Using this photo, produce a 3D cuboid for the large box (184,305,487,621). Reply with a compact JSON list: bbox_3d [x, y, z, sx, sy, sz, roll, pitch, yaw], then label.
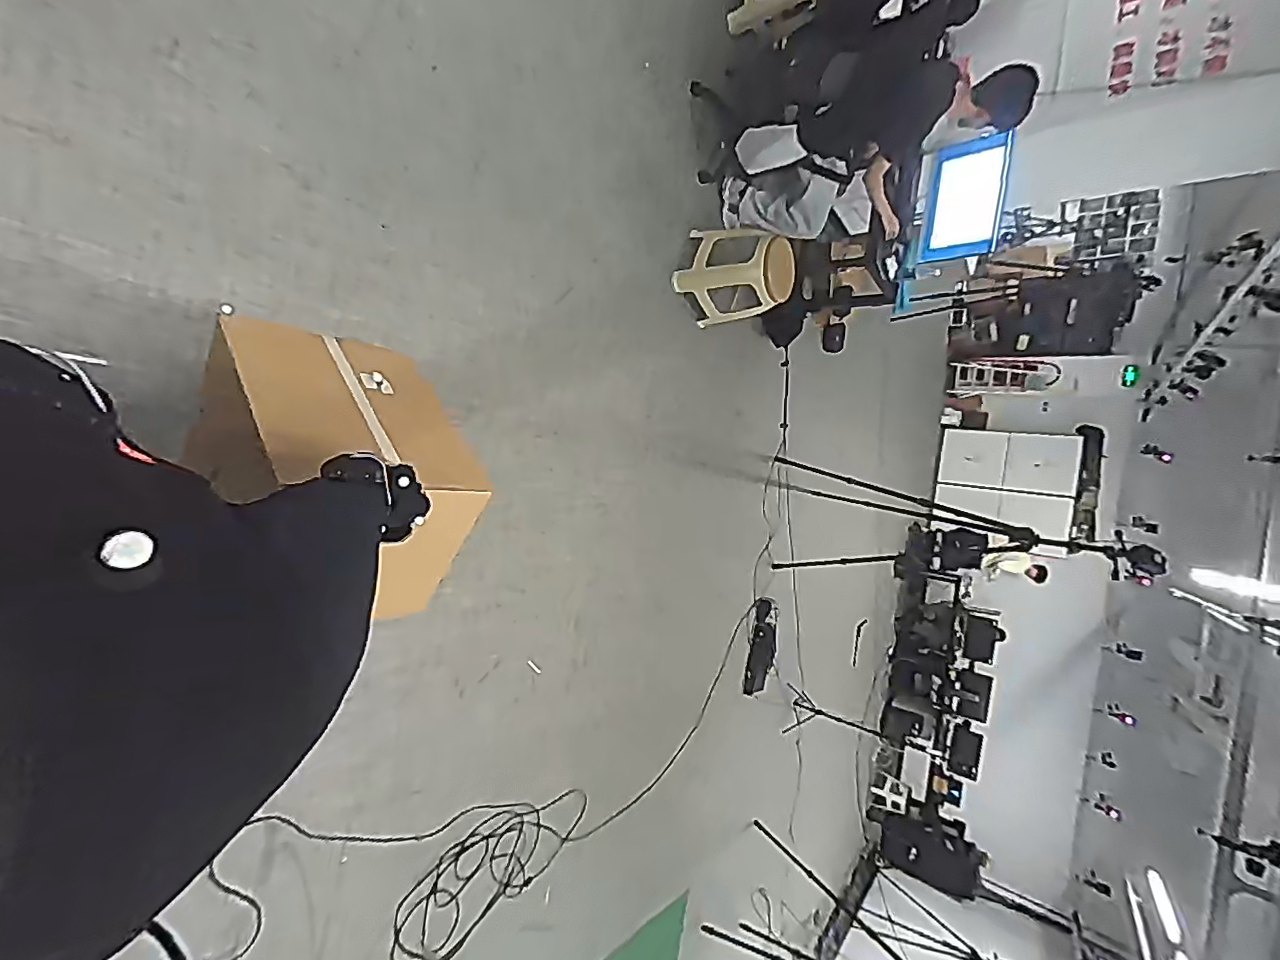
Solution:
[{"bbox_3d":[-0.538,-0.029,0.936,0.320,0.408,0.320,4,129,-52],"label":"large box"}]
